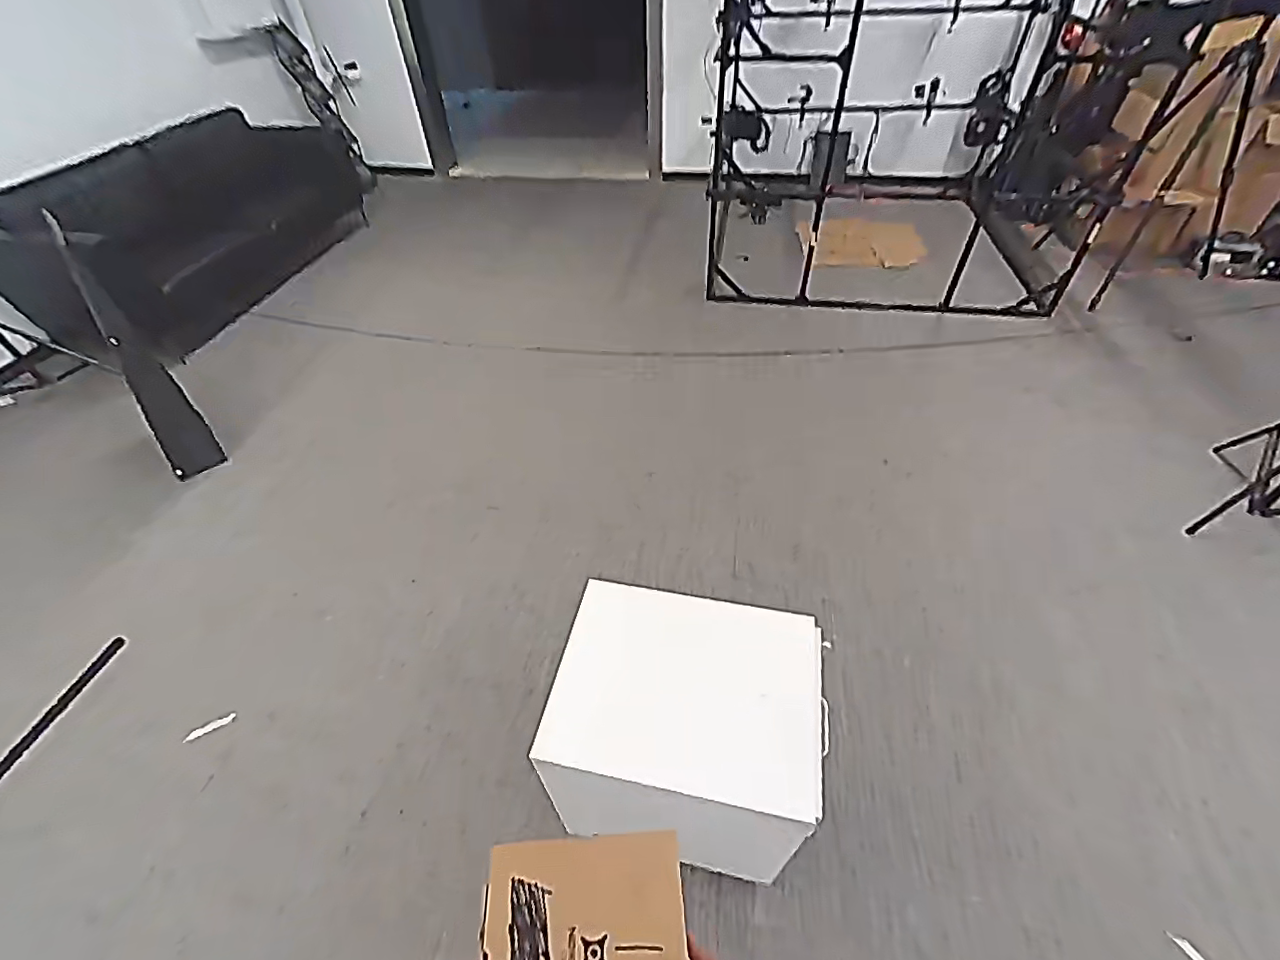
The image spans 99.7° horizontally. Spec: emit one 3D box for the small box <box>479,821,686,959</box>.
[{"bbox_3d":[-0.049,0.445,0.517,0.179,0.176,0.168,-1,46,-3],"label":"small box"}]
